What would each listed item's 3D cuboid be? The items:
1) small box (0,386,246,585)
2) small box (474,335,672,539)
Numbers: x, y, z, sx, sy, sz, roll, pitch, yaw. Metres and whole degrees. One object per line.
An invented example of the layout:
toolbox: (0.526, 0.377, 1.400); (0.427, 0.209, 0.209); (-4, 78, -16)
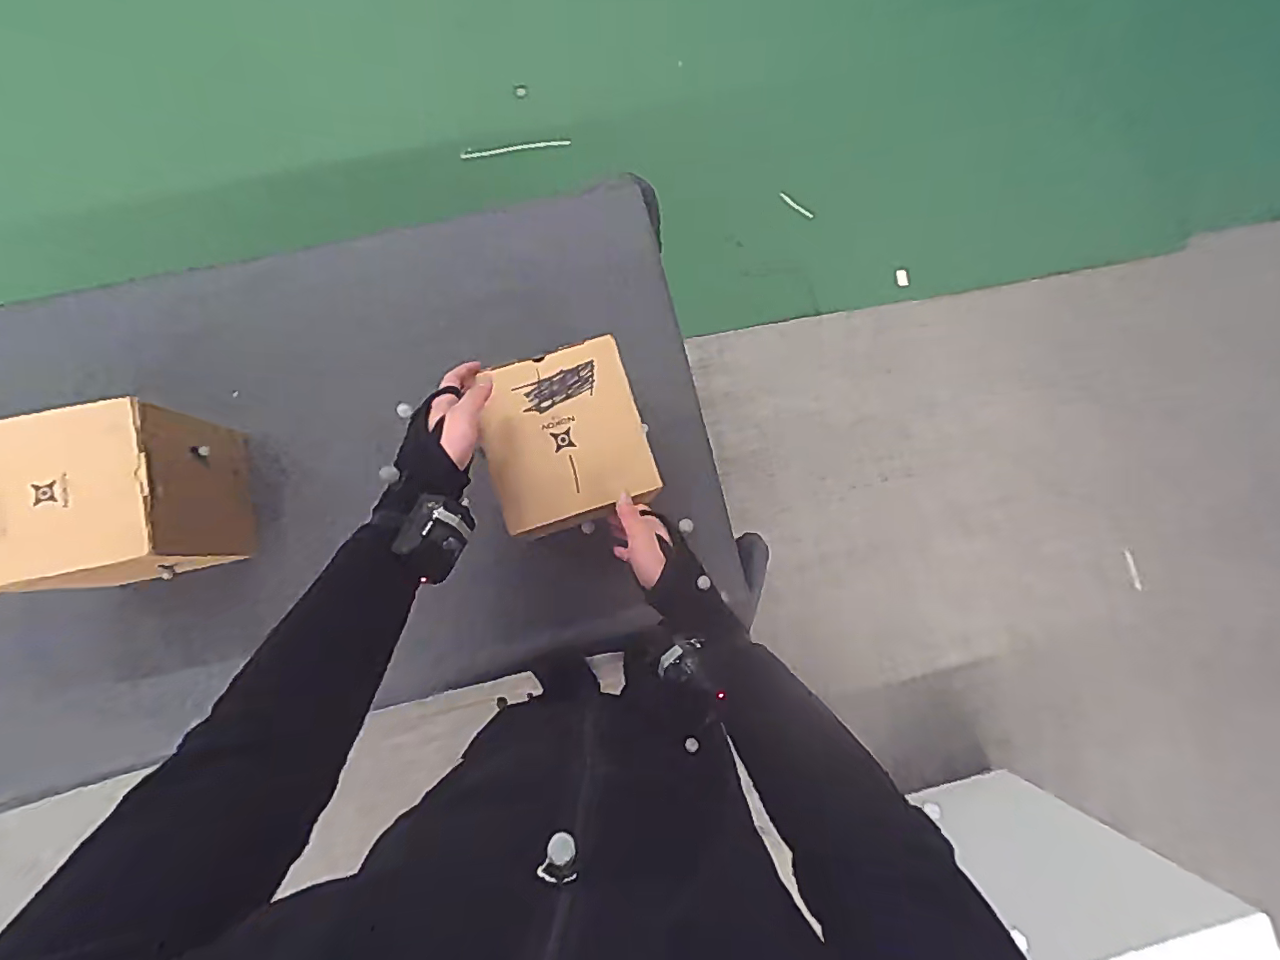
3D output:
small box: (-0.564, 0.015, 0.586); (0.179, 0.176, 0.168); (-12, 81, -5)
small box: (-0.076, -0.038, 0.630); (0.168, 0.176, 0.179); (-18, 84, -7)
